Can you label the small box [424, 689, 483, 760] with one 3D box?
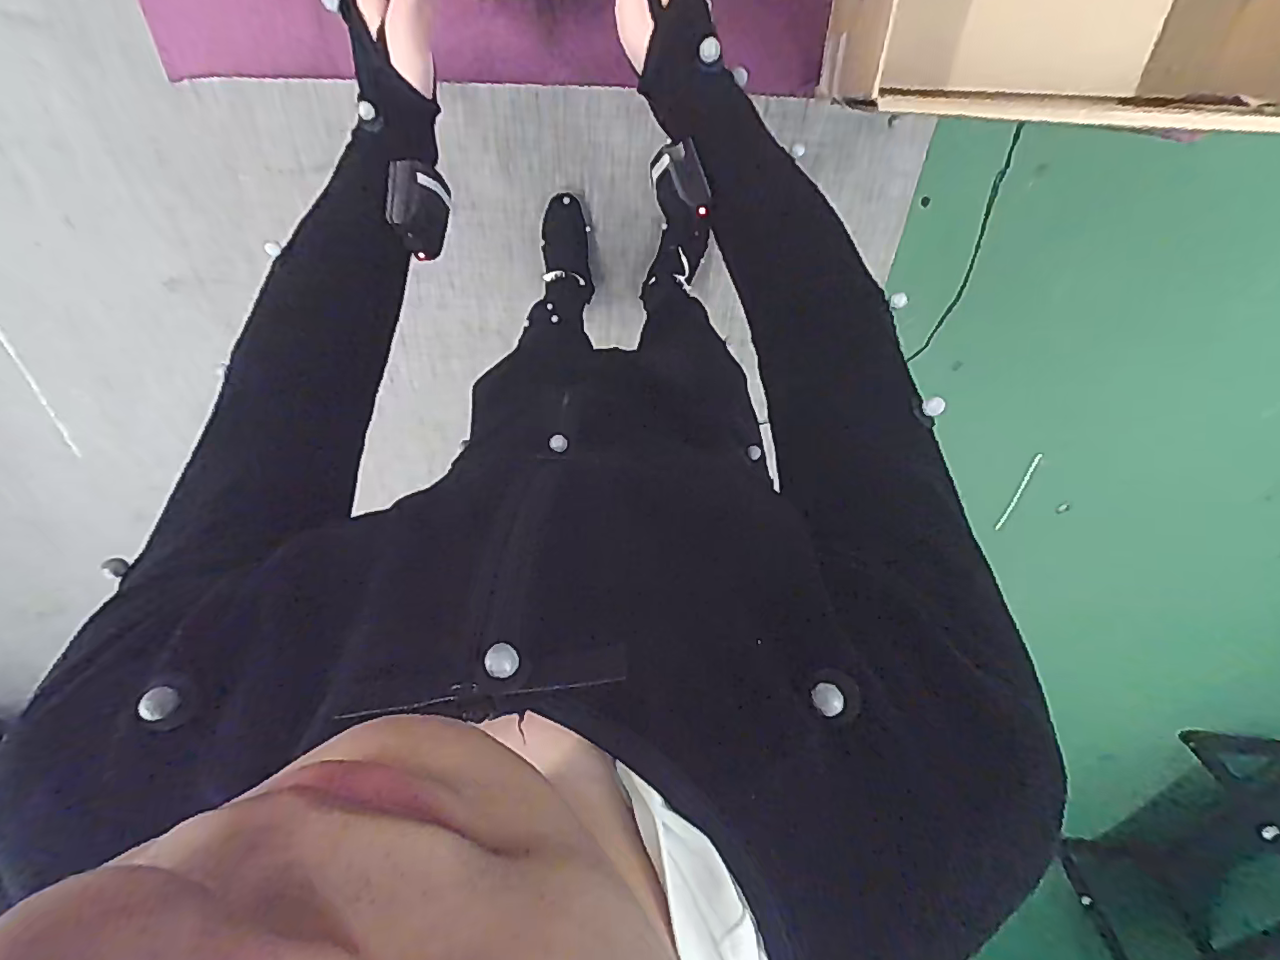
[{"bbox_3d":[-0.676,0.886,1.969,0.168,0.176,0.179,9,123,-5],"label":"small box"}]
